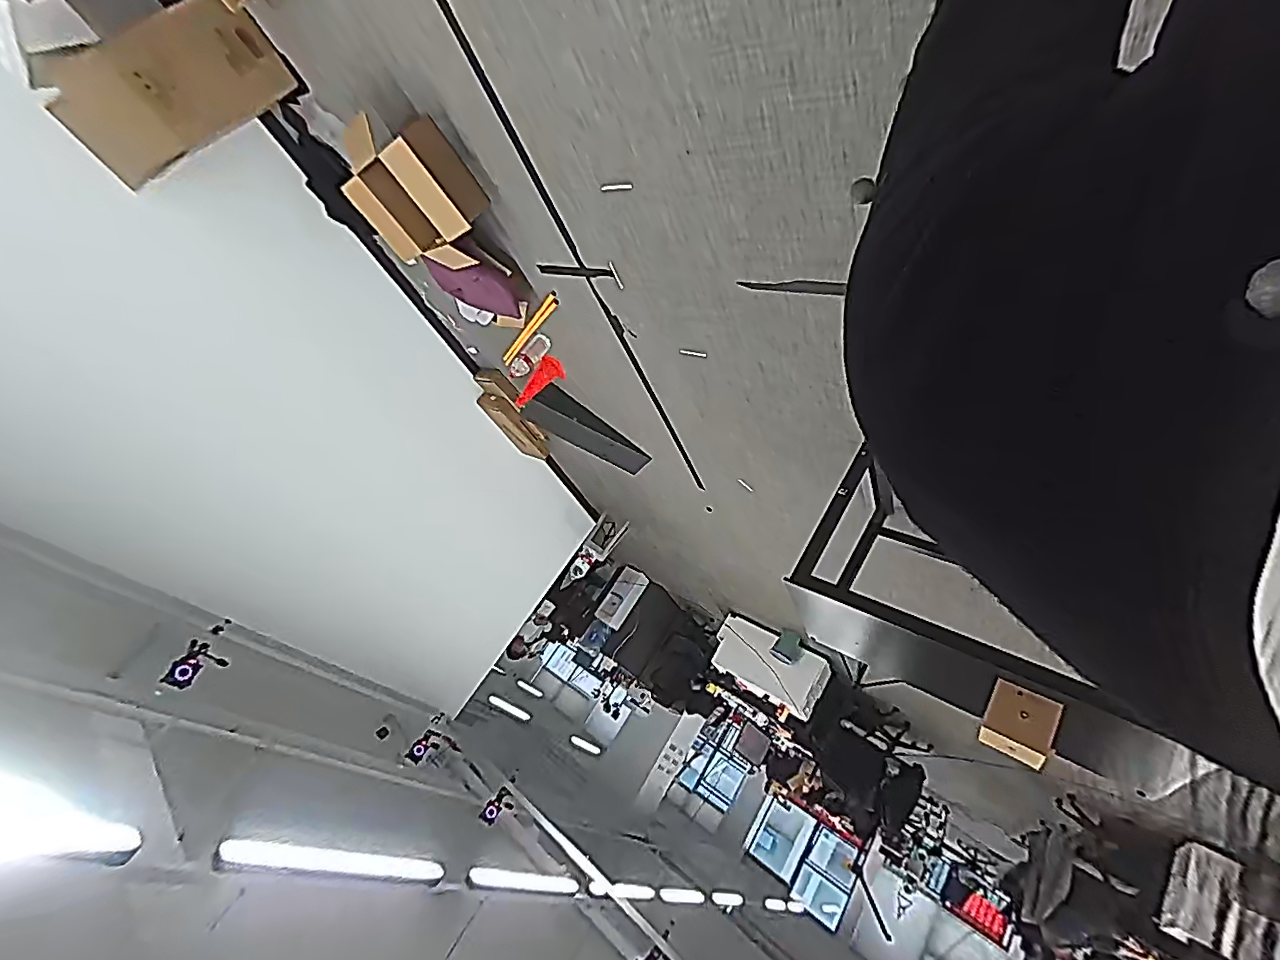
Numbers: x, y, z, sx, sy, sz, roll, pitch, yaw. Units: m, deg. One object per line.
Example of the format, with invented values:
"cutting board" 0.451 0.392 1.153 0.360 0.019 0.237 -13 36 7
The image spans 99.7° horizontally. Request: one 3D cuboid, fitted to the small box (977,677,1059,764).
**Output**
"small box" 1.165 0.736 1.669 0.168 0.176 0.179 20 156 39
